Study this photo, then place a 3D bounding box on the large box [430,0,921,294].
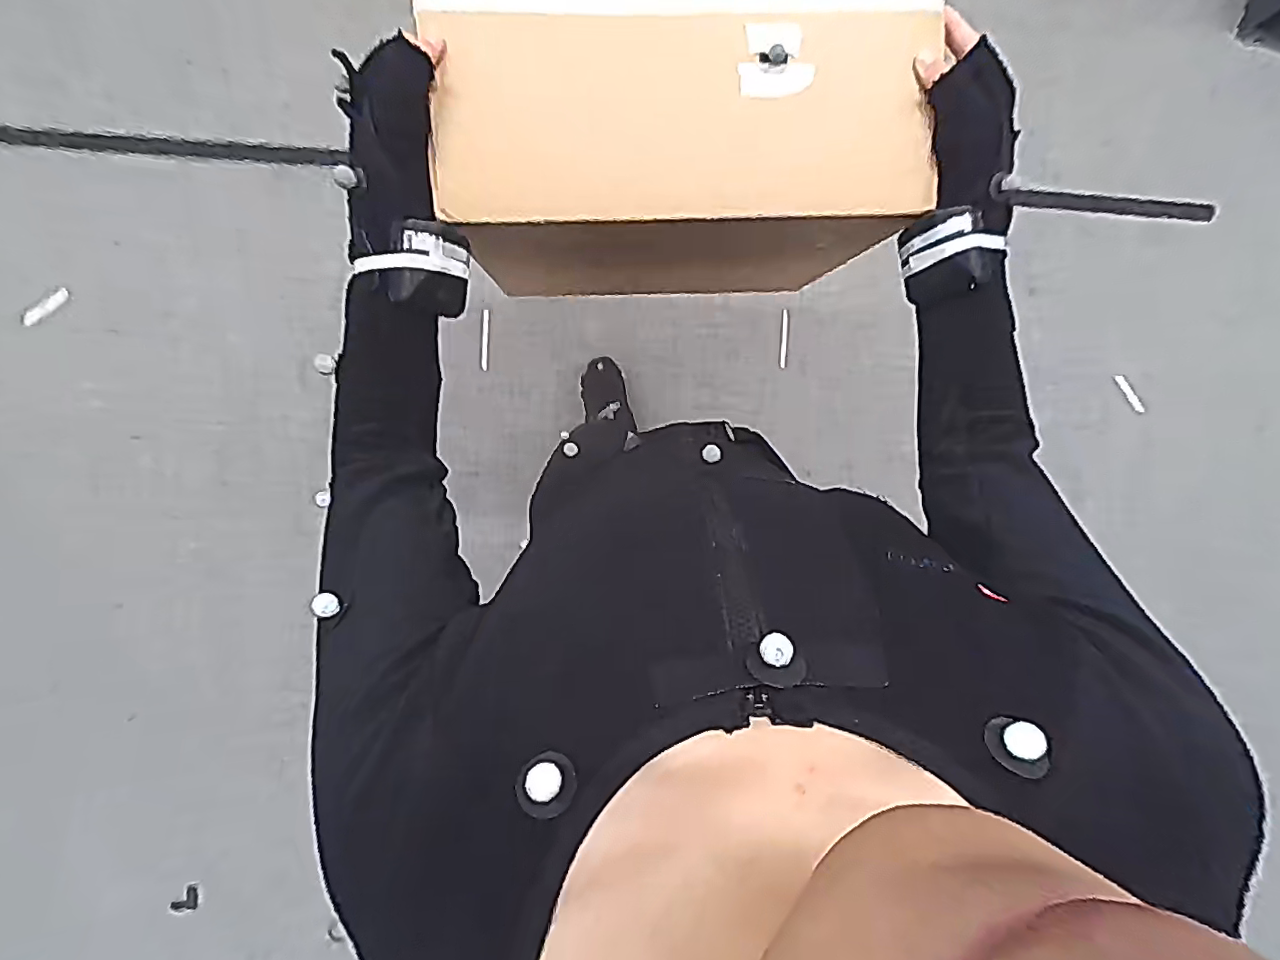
[{"bbox_3d":[0.021,-0.395,0.579,0.408,0.320,0.320,-3,99,-4],"label":"large box"}]
